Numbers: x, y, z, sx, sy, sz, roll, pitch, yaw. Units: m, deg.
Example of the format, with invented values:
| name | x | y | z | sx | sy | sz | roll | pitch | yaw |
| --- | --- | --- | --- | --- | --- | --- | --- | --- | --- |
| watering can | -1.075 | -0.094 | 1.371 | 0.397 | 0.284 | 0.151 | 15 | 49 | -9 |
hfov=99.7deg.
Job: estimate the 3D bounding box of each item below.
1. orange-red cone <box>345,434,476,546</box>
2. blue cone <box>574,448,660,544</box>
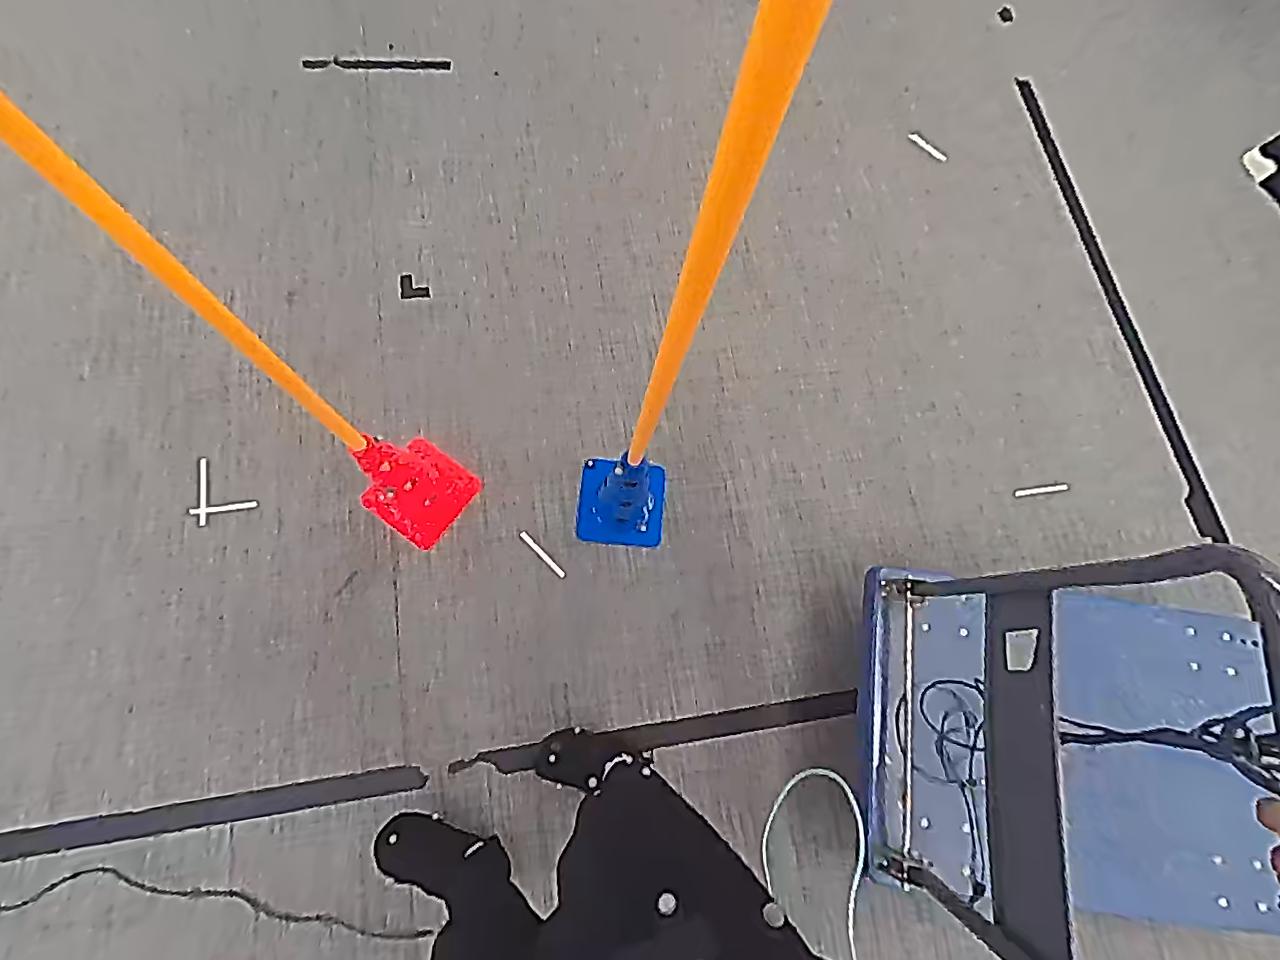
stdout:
| name | x | y | z | sx | sy | sz | roll | pitch | yaw |
| --- | --- | --- | --- | --- | --- | --- | --- | --- | --- |
| orange-red cone | -0.479 | -0.018 | 1.051 | 0.199 | 0.360 | 0.198 | 37 | 76 | 4 |
| blue cone | -0.039 | 0.009 | 1.101 | 0.192 | 0.380 | 0.193 | 7 | 74 | -3 |
